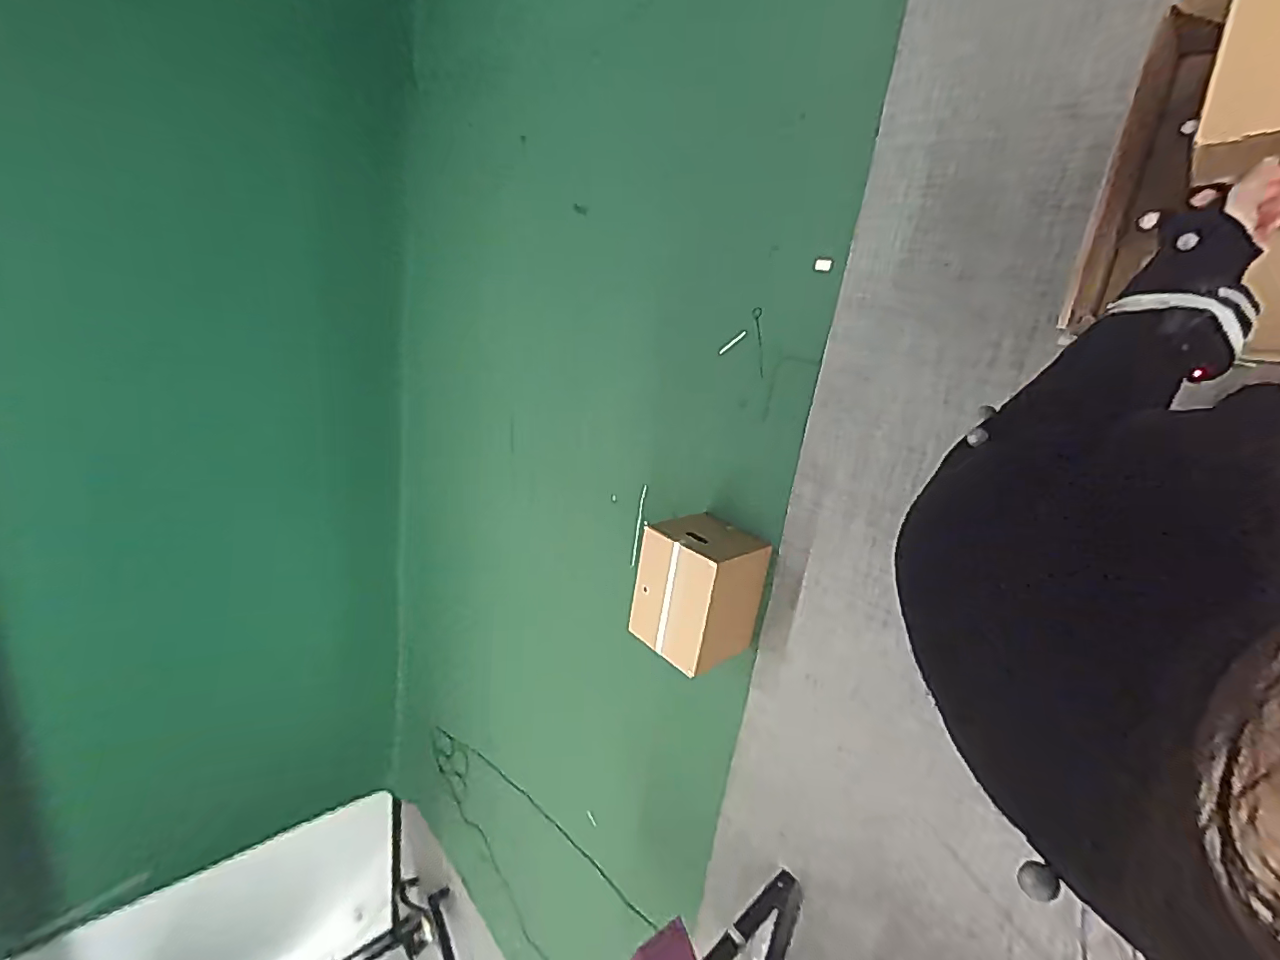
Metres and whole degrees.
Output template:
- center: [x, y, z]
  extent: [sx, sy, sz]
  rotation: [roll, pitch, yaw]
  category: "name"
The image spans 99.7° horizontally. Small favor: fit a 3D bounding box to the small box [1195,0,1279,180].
- center: [0.635, -0.387, 0.480]
  extent: [0.168, 0.176, 0.179]
  rotation: [17, 107, 43]
  category: "small box"
